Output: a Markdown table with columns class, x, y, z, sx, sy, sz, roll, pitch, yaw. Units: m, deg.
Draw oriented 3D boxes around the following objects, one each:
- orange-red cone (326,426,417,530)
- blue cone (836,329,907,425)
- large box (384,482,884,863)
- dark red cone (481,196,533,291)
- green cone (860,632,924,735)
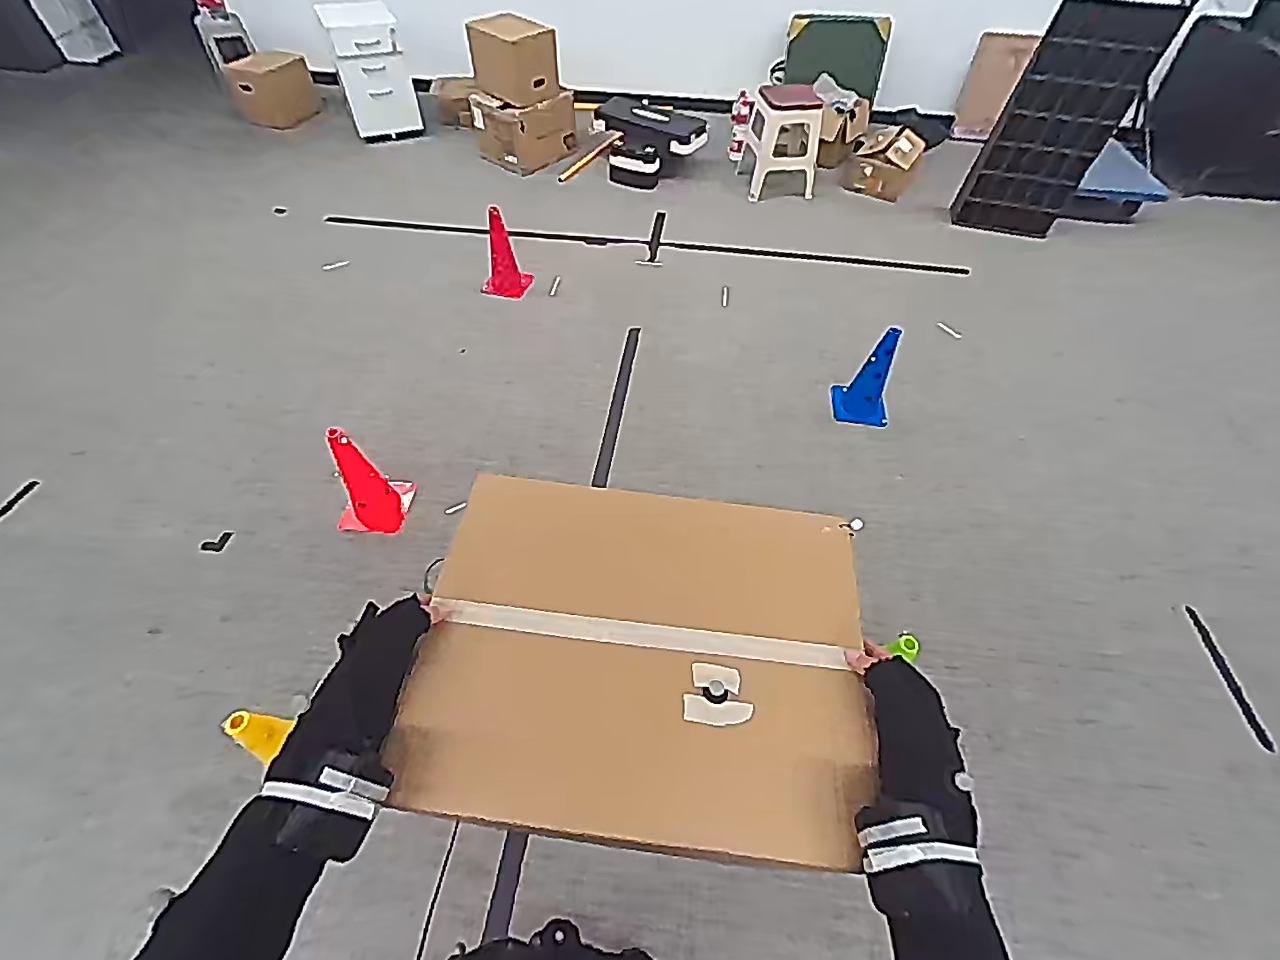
| class | x | y | z | sx | sy | sz | roll | pitch | yaw |
| --- | --- | --- | --- | --- | --- | --- | --- | --- | --- |
| orange-red cone | -0.844 | -0.027 | 1.625 | 0.198 | 0.360 | 0.199 | 4 | 54 | 2 |
| blue cone | 0.870 | -0.391 | 1.985 | 0.192 | 0.380 | 0.193 | 10 | 53 | 4 |
| large box | 0.000 | 0.232 | 0.626 | 0.408 | 0.320 | 0.320 | 7 | 55 | 2 |
| dark red cone | -0.609 | -1.050 | 2.393 | 0.201 | 0.394 | 0.202 | 12 | 53 | 6 |
| green cone | 0.577 | 0.458 | 1.296 | 0.202 | 0.368 | 0.200 | -23 | 57 | -20 |
